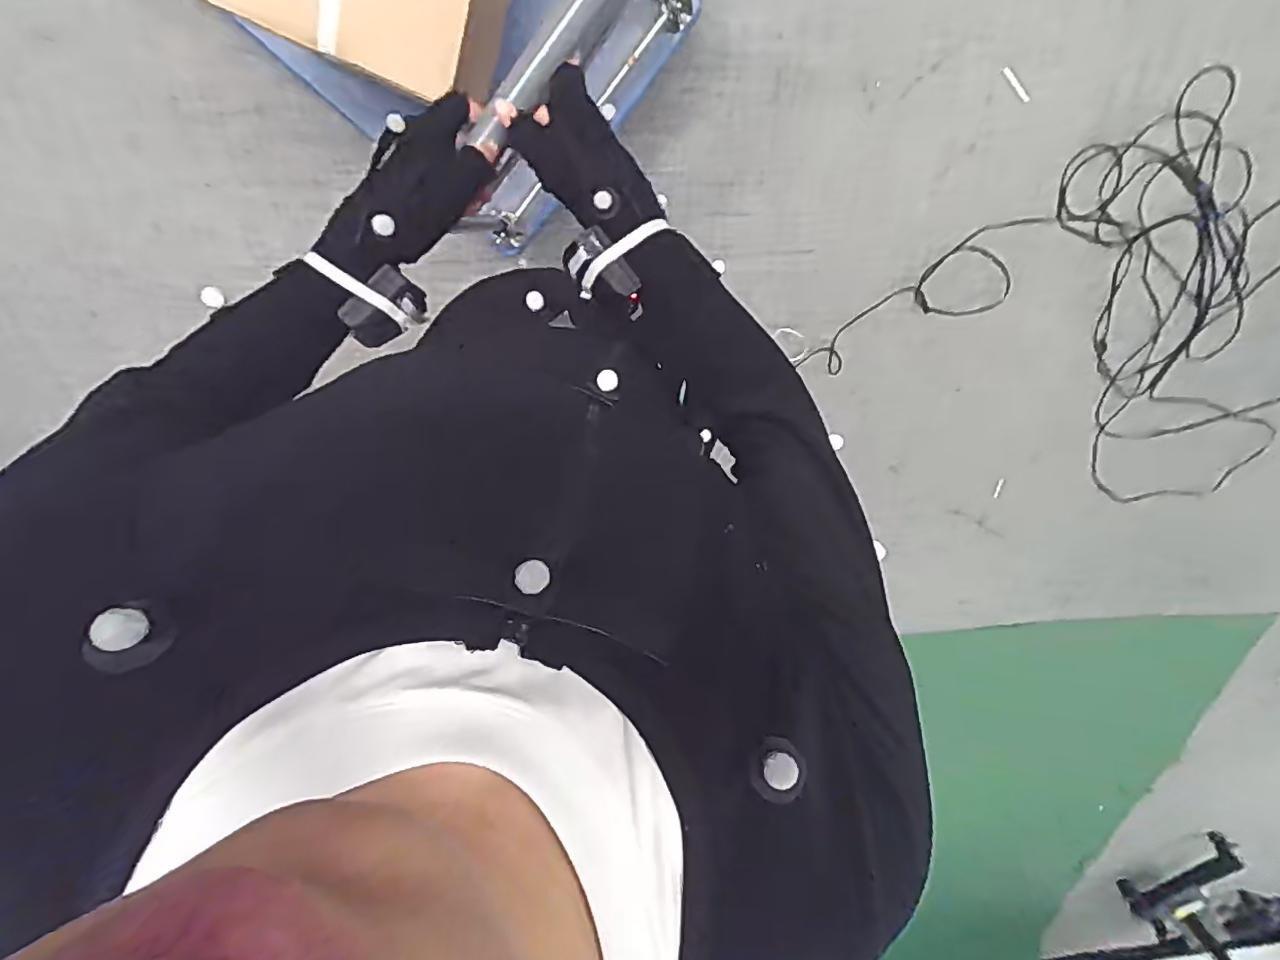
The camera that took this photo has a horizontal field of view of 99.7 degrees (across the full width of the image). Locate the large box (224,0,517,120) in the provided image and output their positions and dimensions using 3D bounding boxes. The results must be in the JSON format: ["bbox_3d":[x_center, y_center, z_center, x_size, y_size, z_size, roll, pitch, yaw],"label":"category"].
[{"bbox_3d":[-0.331,-0.799,0.756,0.320,0.320,0.408,17,117,-14],"label":"large box"}]
